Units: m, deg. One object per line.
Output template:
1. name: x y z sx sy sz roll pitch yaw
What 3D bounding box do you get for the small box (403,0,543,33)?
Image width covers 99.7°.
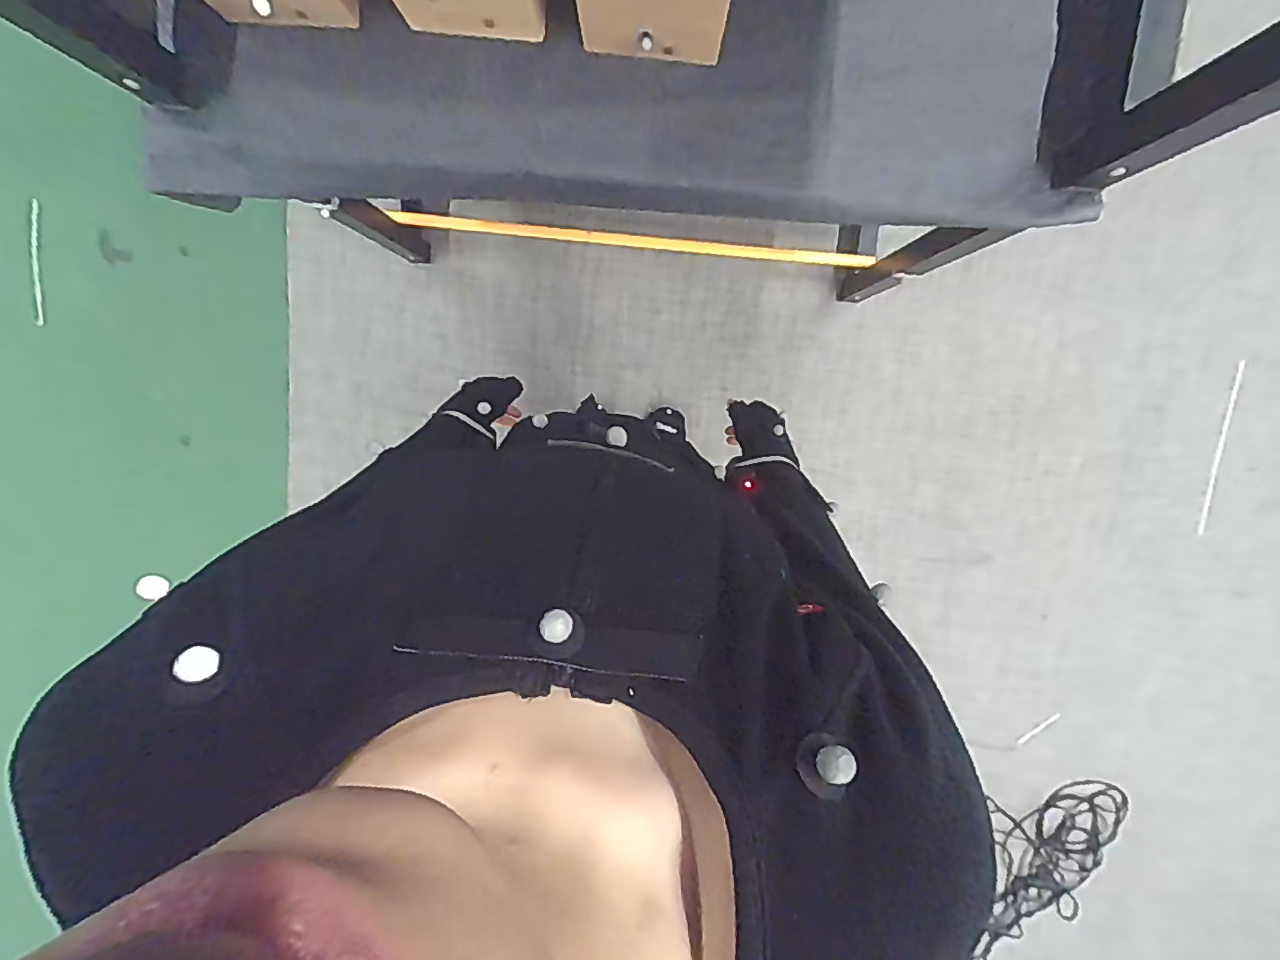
1. small box: -0.193 -0.619 0.567 0.168 0.176 0.179 5 98 -1

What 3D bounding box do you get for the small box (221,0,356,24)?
1. small box: -0.419 -0.633 0.563 0.168 0.176 0.179 3 99 0
